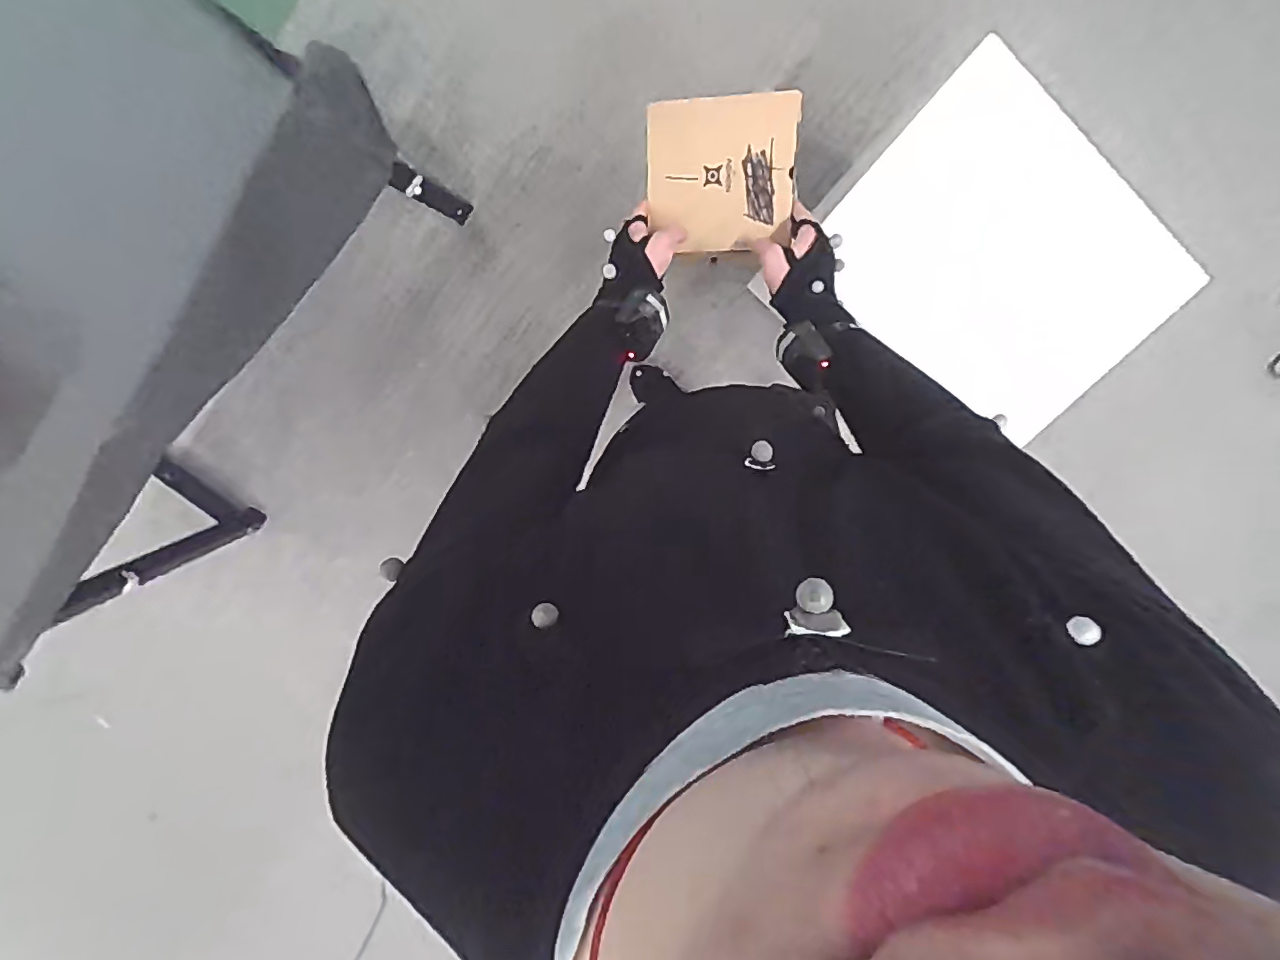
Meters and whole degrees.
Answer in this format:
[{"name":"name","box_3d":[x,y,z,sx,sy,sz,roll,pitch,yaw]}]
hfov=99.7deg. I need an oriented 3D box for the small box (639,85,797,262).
[{"name":"small box","box_3d":[0.096,-0.377,0.694,0.179,0.176,0.168,2,107,9]}]
